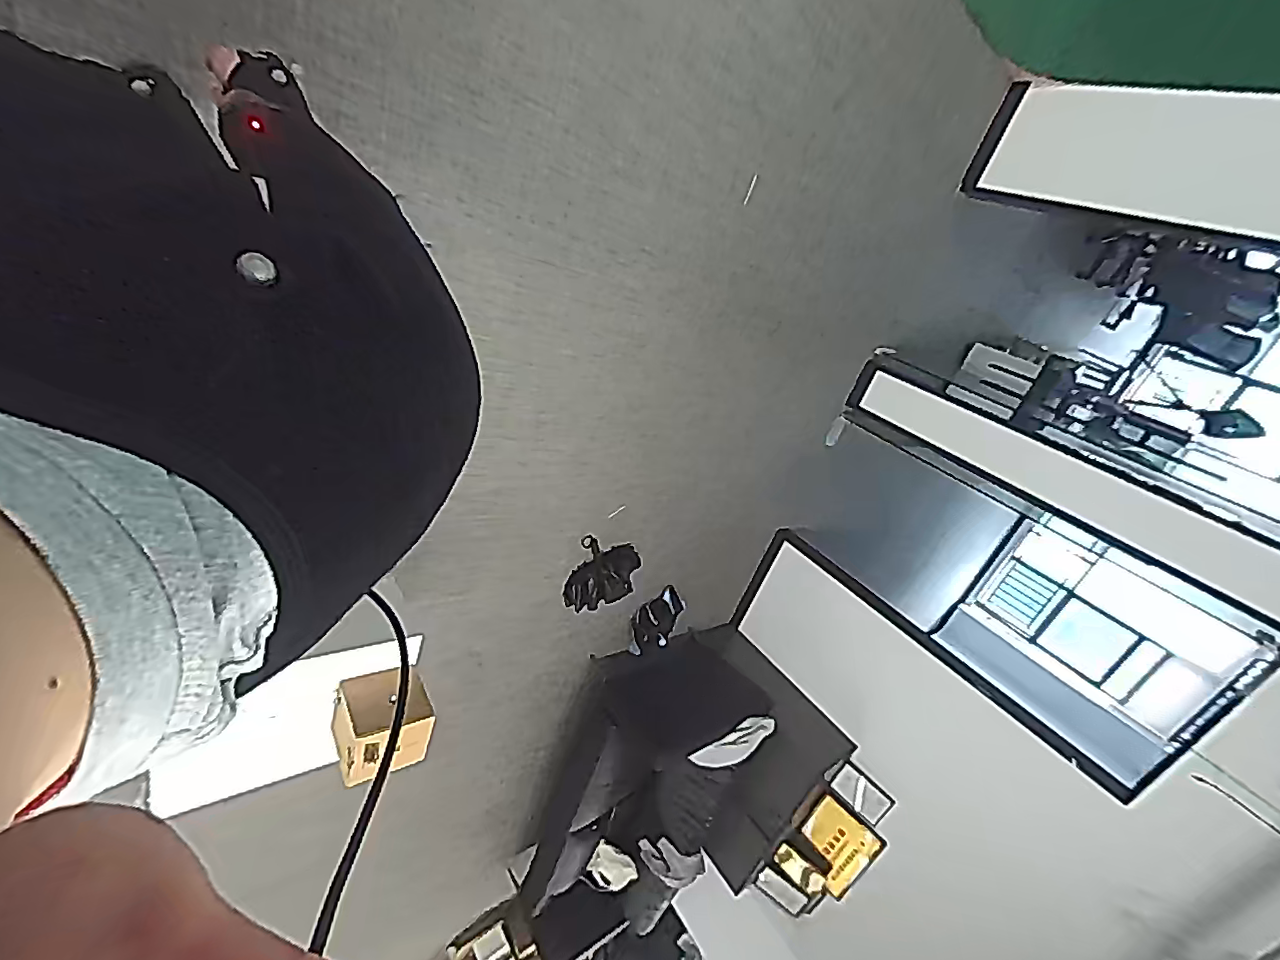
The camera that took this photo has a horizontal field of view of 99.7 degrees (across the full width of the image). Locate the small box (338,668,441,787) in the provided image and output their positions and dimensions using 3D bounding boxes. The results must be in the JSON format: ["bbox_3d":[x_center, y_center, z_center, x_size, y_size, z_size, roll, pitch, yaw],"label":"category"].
[{"bbox_3d":[-0.607,0.584,1.299,0.179,0.176,0.168,-1,122,-43],"label":"small box"}]
